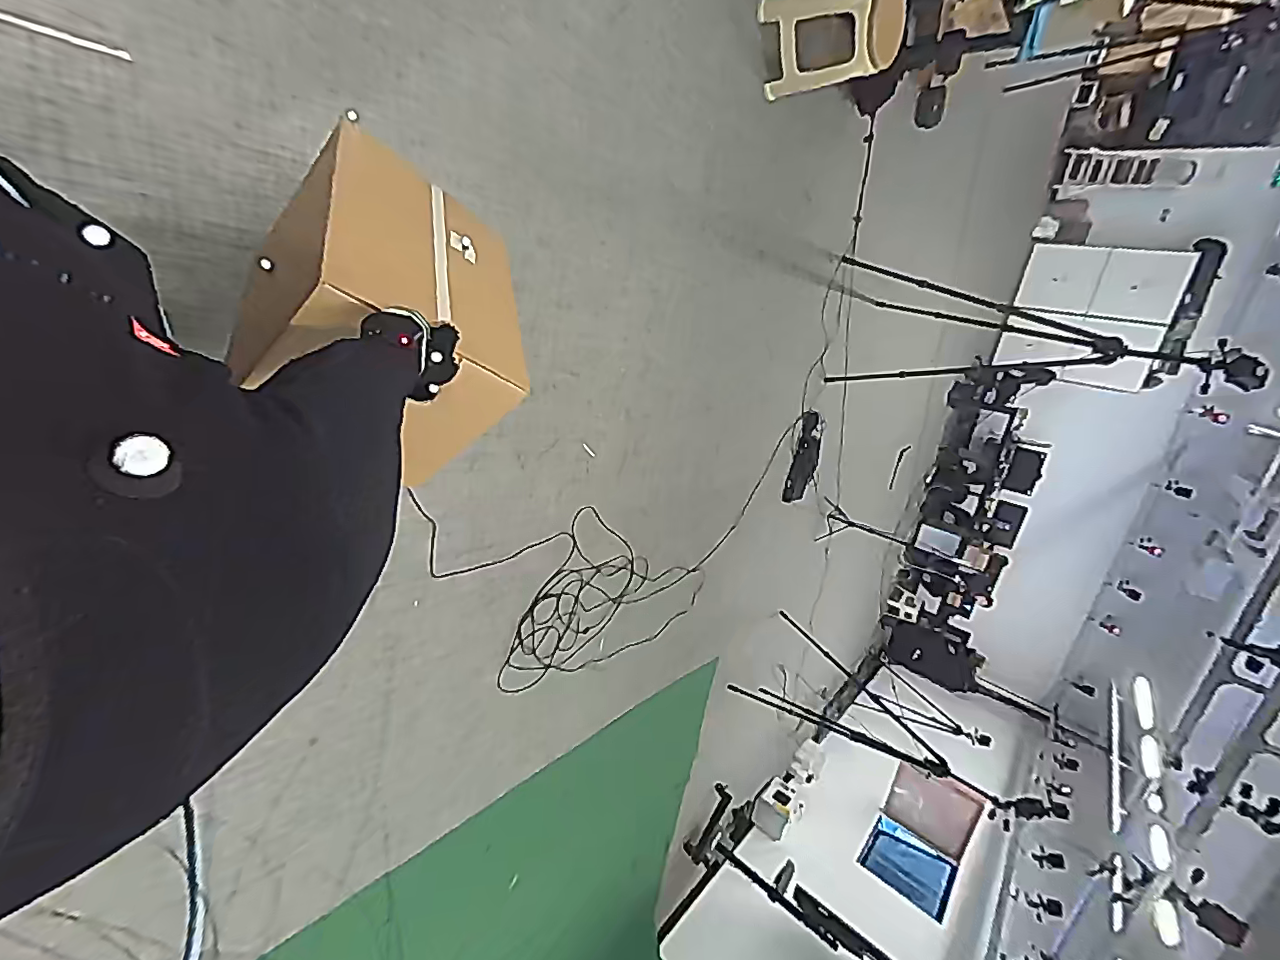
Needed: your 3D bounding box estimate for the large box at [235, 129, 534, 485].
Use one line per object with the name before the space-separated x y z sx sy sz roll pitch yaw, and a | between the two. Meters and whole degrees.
large box | -0.418 -0.261 0.902 0.320 0.408 0.320 -34 144 26
